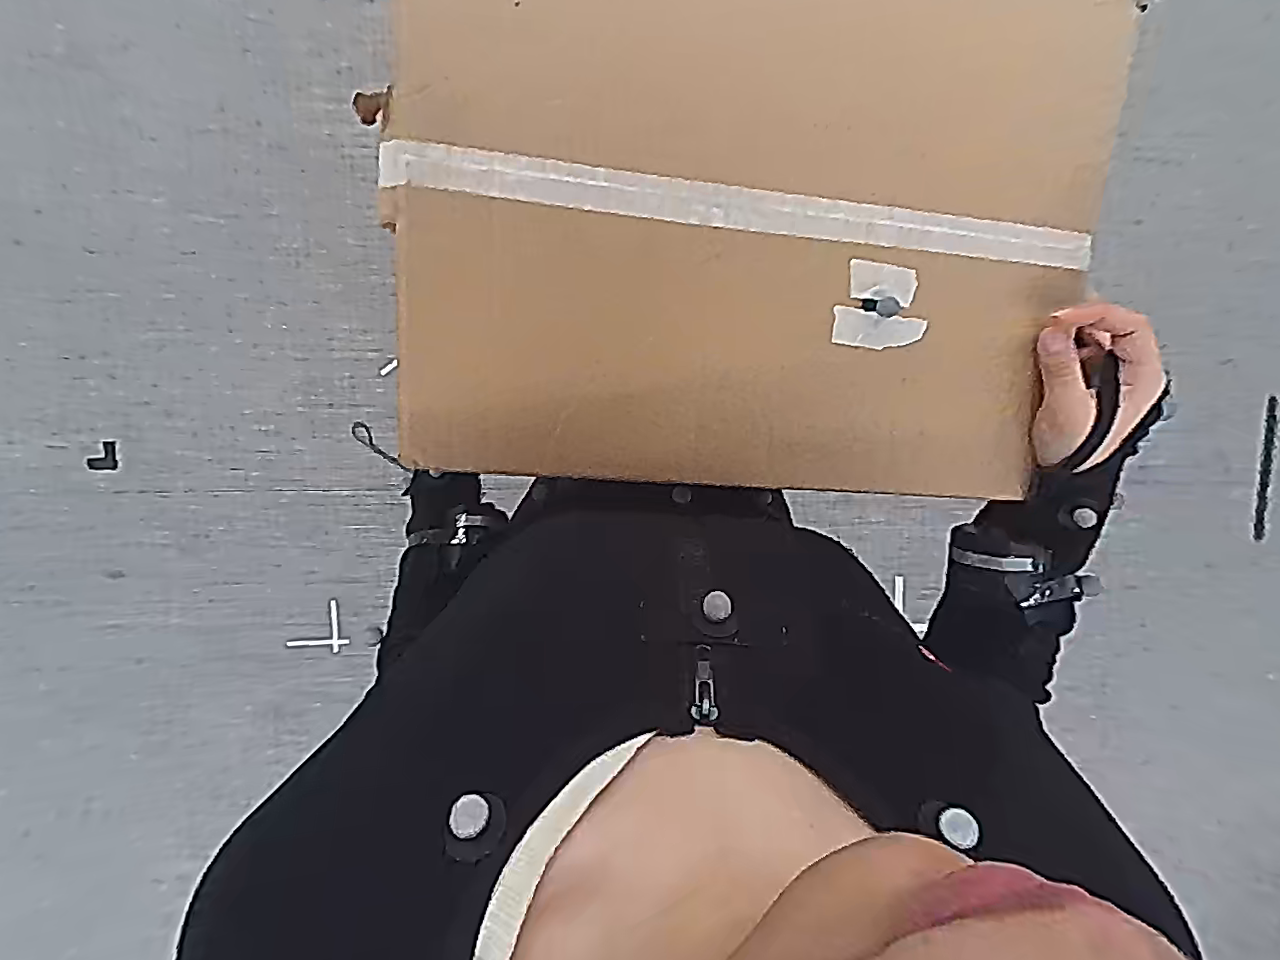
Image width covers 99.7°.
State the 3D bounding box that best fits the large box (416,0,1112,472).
[{"bbox_3d":[0.053,-0.189,0.456,0.408,0.320,0.320,3,101,-11],"label":"large box"}]
